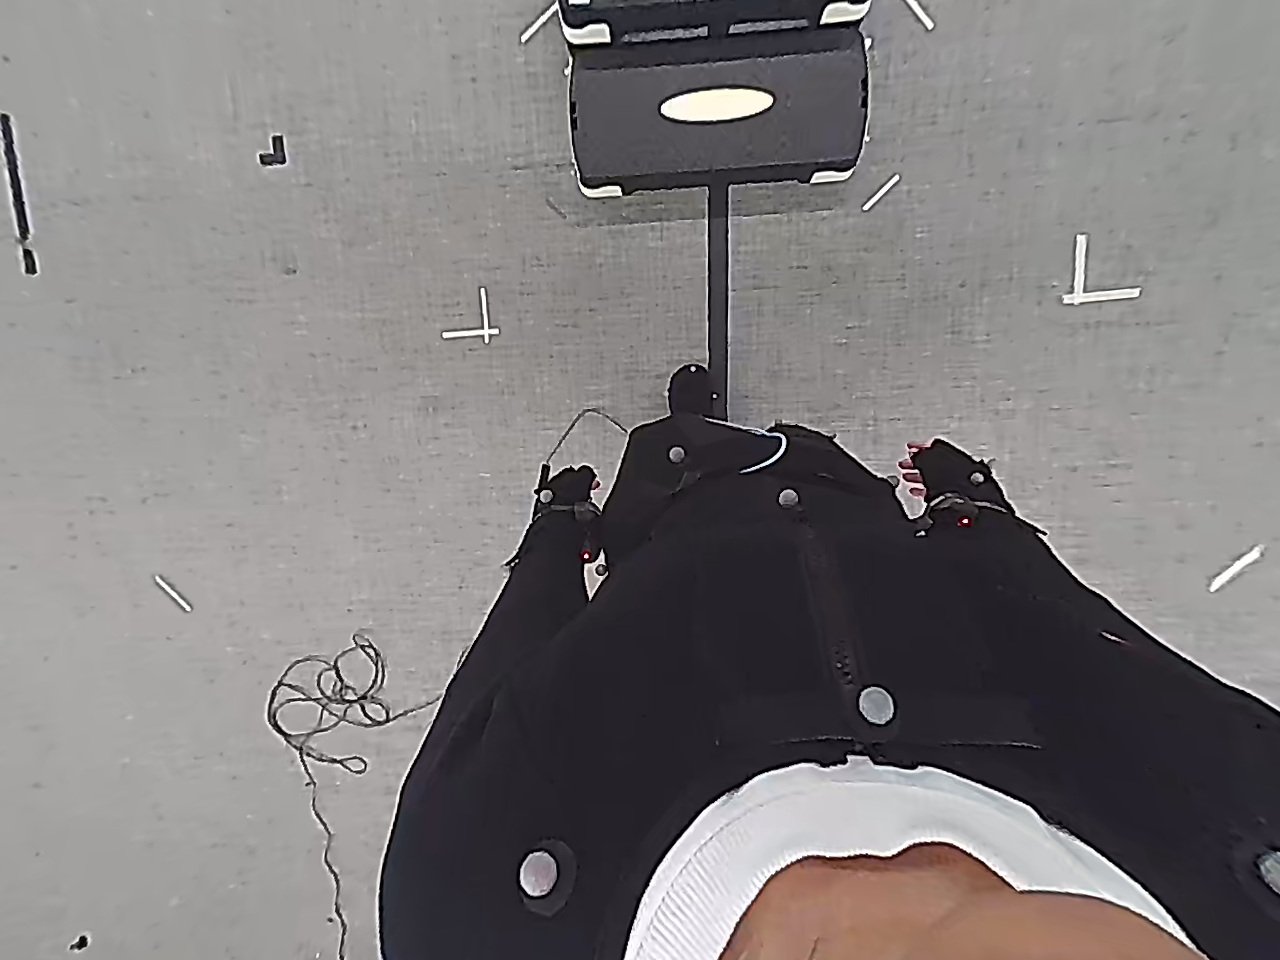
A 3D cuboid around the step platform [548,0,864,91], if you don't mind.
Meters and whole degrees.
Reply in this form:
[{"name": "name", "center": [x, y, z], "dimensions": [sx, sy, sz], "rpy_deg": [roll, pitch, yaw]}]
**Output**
[{"name": "step platform", "center": [0.137, -1.082, 1.177], "dimensions": [0.684, 0.204, 0.286], "rpy_deg": [-3, 99, 3]}]
